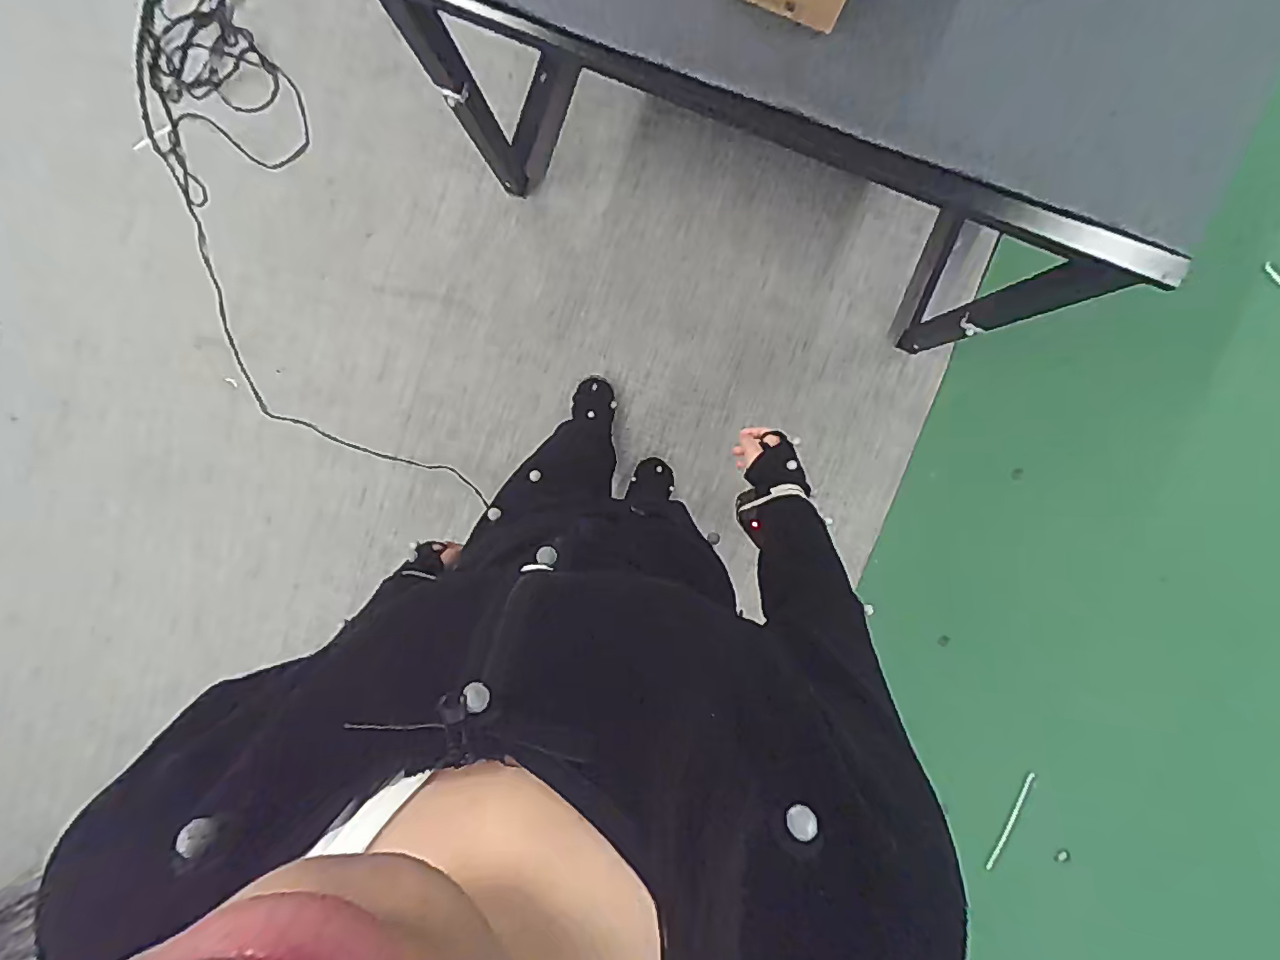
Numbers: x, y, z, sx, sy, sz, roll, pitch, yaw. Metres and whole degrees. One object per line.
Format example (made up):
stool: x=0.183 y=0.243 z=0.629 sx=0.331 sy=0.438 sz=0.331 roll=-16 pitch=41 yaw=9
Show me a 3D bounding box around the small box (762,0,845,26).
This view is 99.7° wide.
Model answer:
small box: x=0.200 y=-0.676 z=0.599 sx=0.168 sy=0.176 sz=0.179 roll=23 pitch=94 yaw=1
